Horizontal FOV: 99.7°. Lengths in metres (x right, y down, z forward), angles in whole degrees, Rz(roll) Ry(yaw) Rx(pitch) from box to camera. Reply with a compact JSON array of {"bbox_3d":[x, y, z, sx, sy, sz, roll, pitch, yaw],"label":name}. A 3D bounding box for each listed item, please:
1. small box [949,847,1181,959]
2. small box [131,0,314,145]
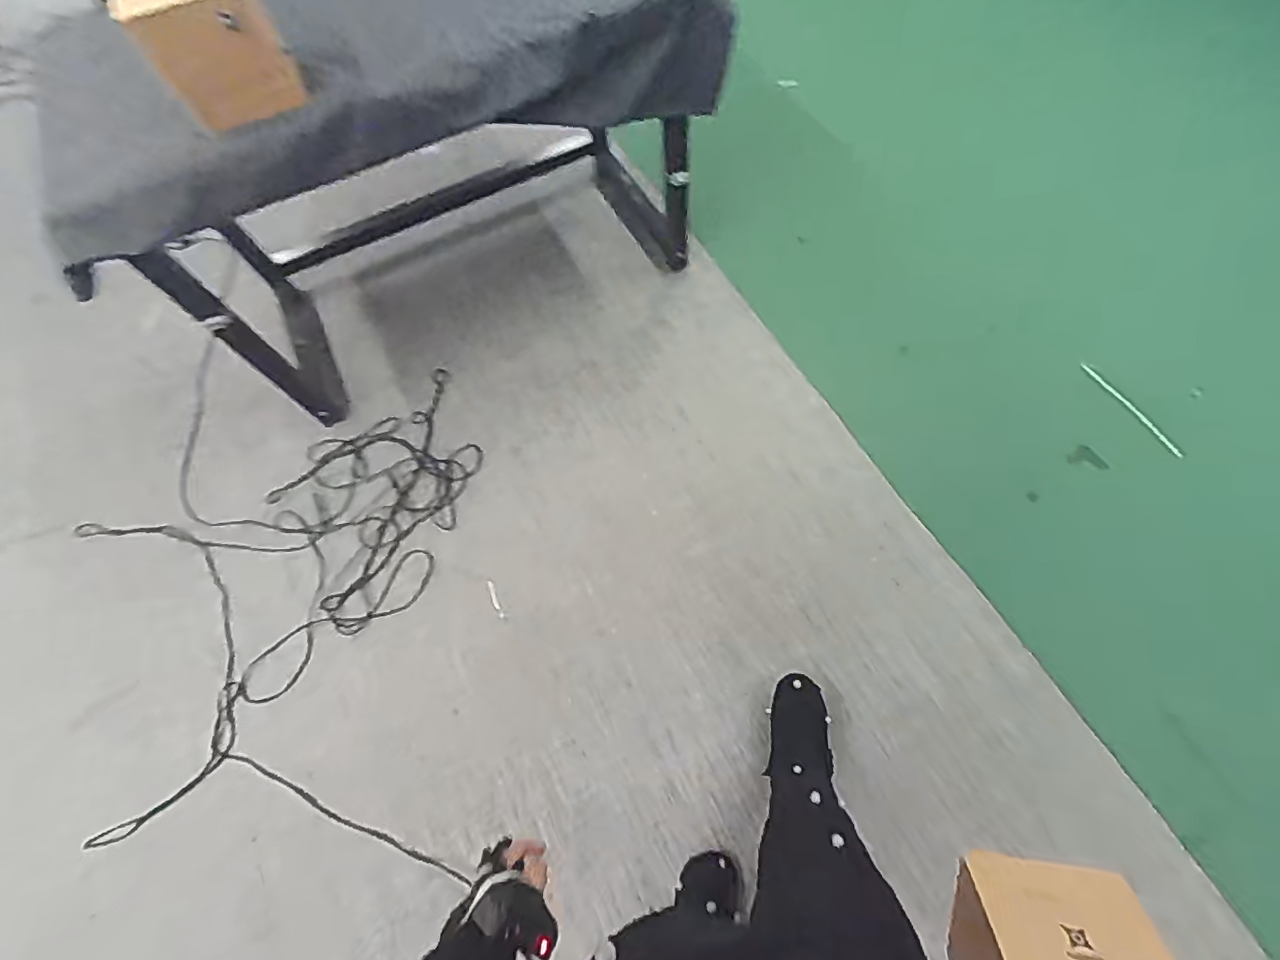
[{"bbox_3d":[0.444,0.534,0.563,0.168,0.179,0.176,0,106,11],"label":"small box"},{"bbox_3d":[-0.690,-0.700,0.904,0.179,0.176,0.168,-25,64,-8],"label":"small box"}]
